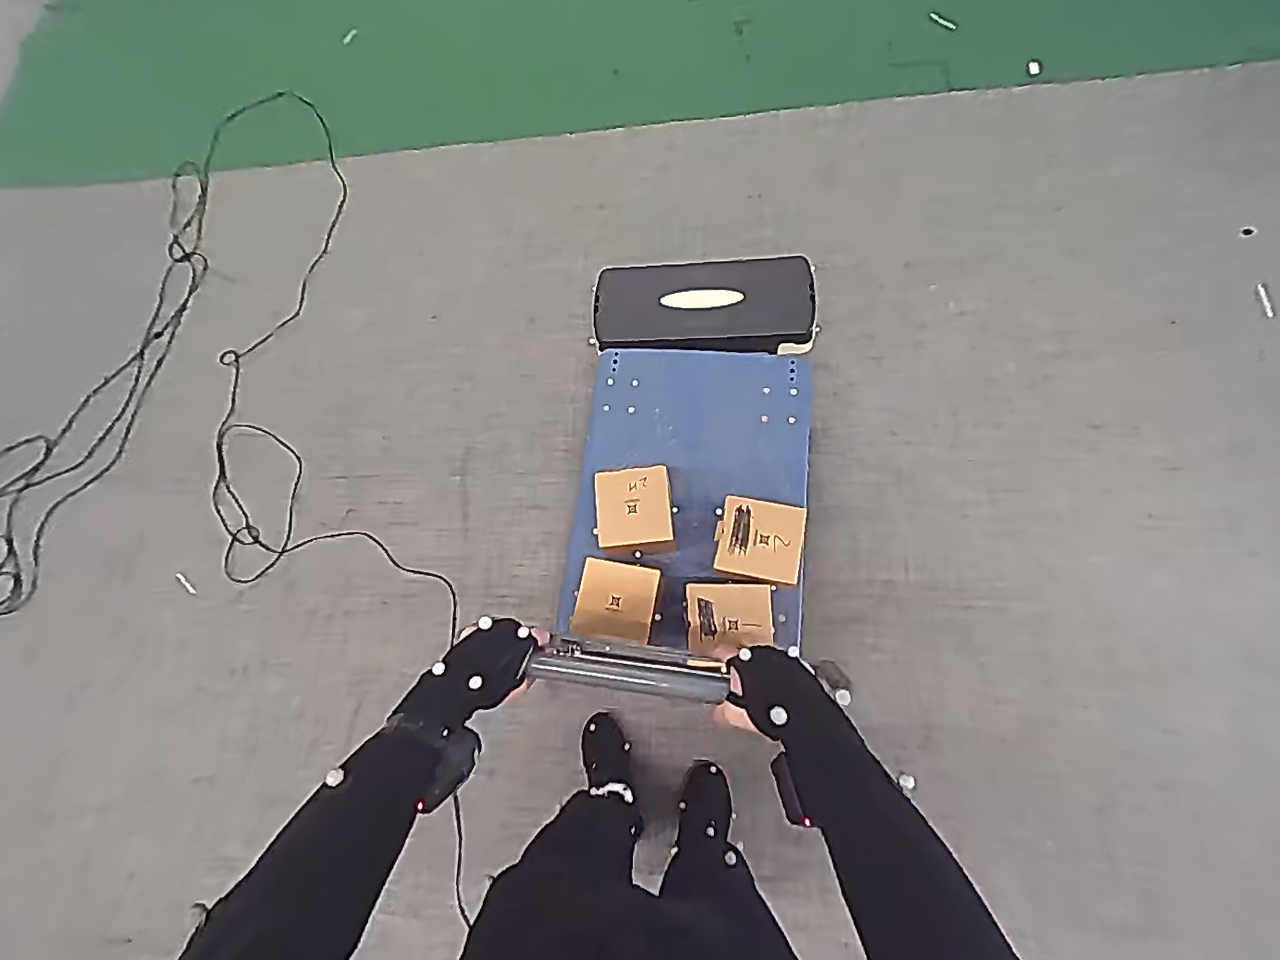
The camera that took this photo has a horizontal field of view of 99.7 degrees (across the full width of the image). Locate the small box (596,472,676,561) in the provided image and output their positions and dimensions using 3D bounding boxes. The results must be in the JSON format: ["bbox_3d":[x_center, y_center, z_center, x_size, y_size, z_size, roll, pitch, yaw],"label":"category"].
[{"bbox_3d":[-0.005,0.093,1.274,0.168,0.176,0.179,-6,72,4],"label":"small box"}]

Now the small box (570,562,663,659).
[{"bbox_3d":[-0.044,0.297,1.216,0.168,0.176,0.179,9,74,9],"label":"small box"}]
